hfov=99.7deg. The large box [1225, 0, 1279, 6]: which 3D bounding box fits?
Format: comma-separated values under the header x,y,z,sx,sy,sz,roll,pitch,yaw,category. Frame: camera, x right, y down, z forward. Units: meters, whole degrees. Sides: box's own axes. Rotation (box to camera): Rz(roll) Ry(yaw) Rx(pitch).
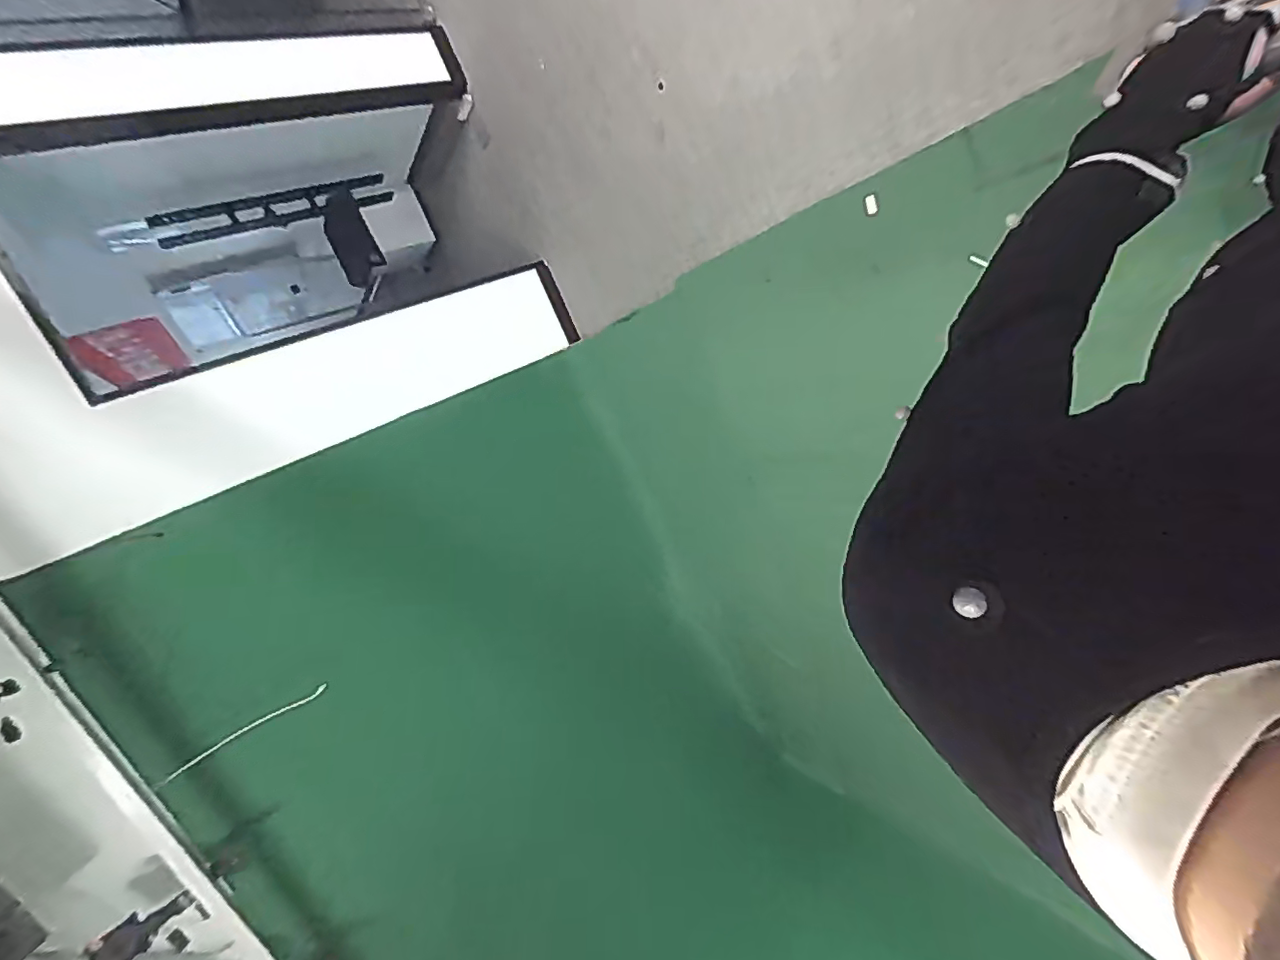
x,y,z,sx,sy,sz,roll,pitch,yaw,category
0.874,-0.833,0.578,0.320,0.320,0.408,7,122,53,large box
